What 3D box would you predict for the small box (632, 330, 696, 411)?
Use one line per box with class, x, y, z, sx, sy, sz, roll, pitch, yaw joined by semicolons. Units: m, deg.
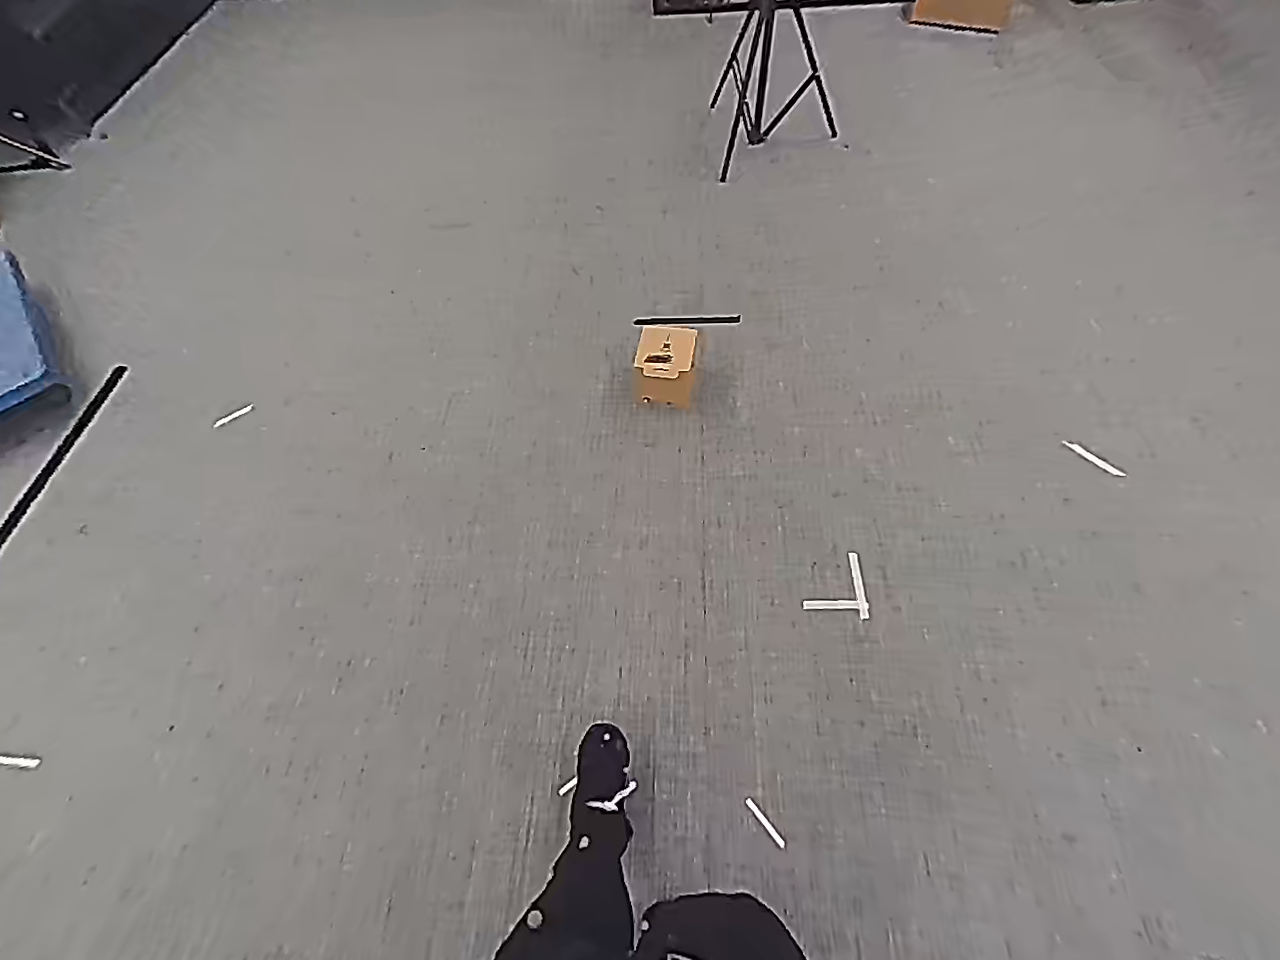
small box;0.078;-0.330;1.654;0.168;0.176;0.179;7;60;8
